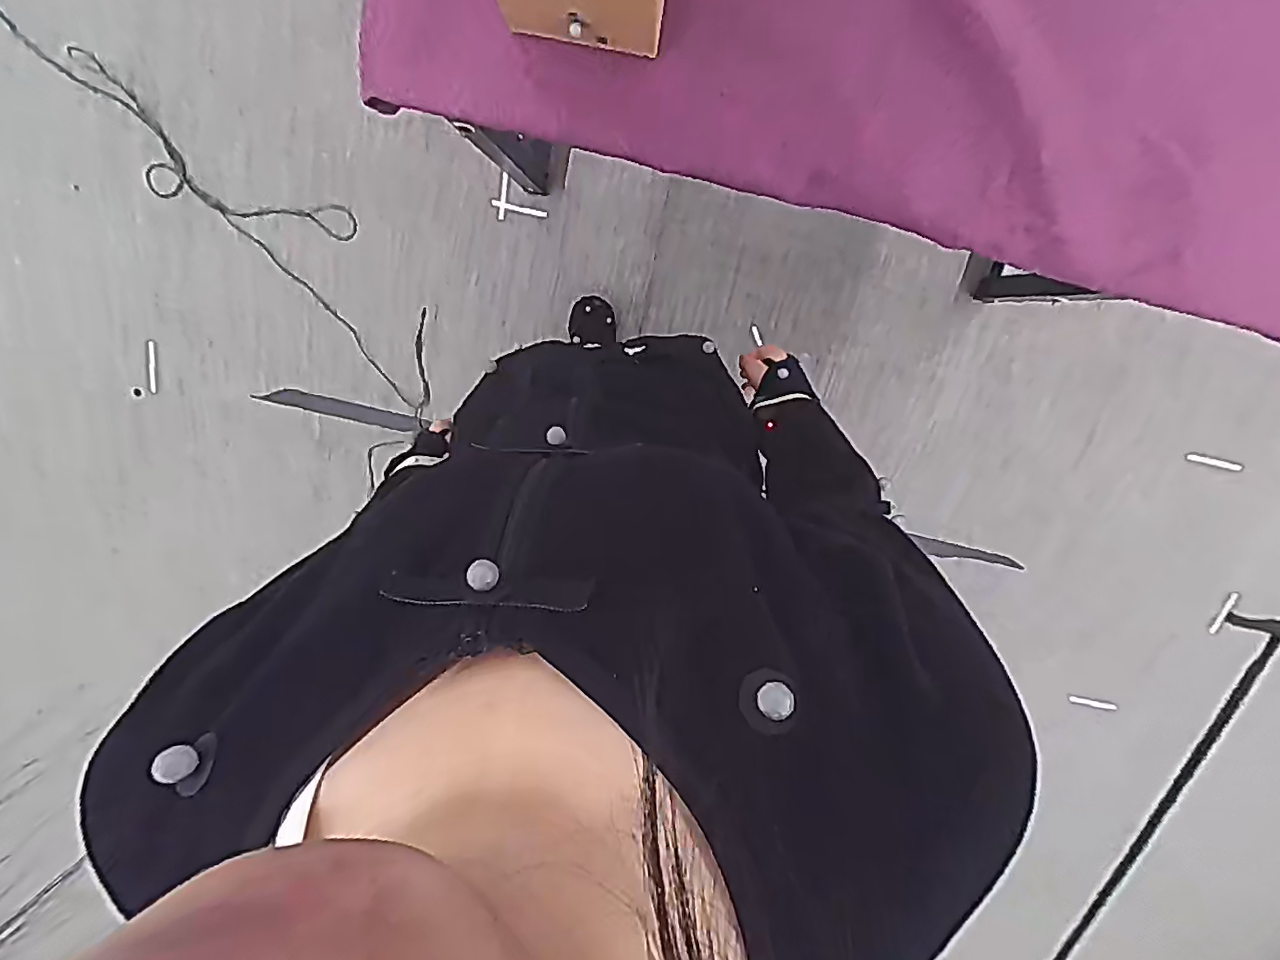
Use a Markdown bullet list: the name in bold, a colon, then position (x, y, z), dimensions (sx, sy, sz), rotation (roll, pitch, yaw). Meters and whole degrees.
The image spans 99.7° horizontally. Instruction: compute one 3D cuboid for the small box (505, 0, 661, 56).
- **small box**: position (-0.052, -0.546, 0.502), dimensions (0.168, 0.176, 0.179), rotation (10, 107, -2)
